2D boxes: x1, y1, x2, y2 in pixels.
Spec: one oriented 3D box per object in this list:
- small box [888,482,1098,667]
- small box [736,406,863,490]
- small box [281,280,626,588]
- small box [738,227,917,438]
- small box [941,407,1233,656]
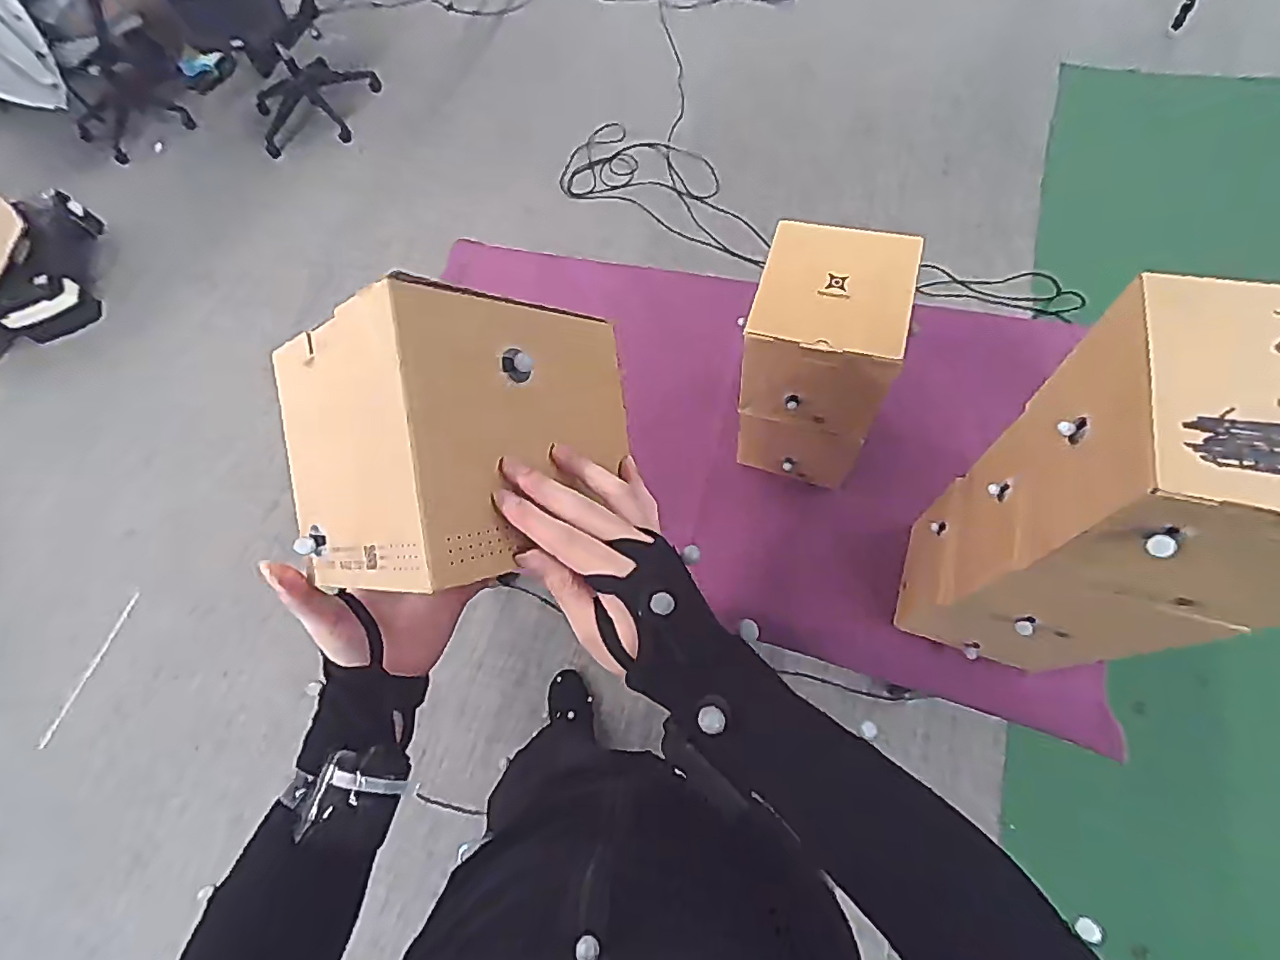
[{"bbox_3d":[0.444,0.129,0.692,0.179,0.176,0.168,17,68,15],"label":"small box"},{"bbox_3d":[0.249,-0.110,0.824,0.168,0.176,0.179,17,70,15],"label":"small box"},{"bbox_3d":[-0.127,-0.022,0.396,0.168,0.179,0.176,-7,91,39],"label":"small box"},{"bbox_3d":[0.224,-0.178,0.679,0.168,0.176,0.179,14,70,13],"label":"small box"},{"bbox_3d":[0.429,0.058,0.545,0.168,0.176,0.179,16,69,16],"label":"small box"}]
